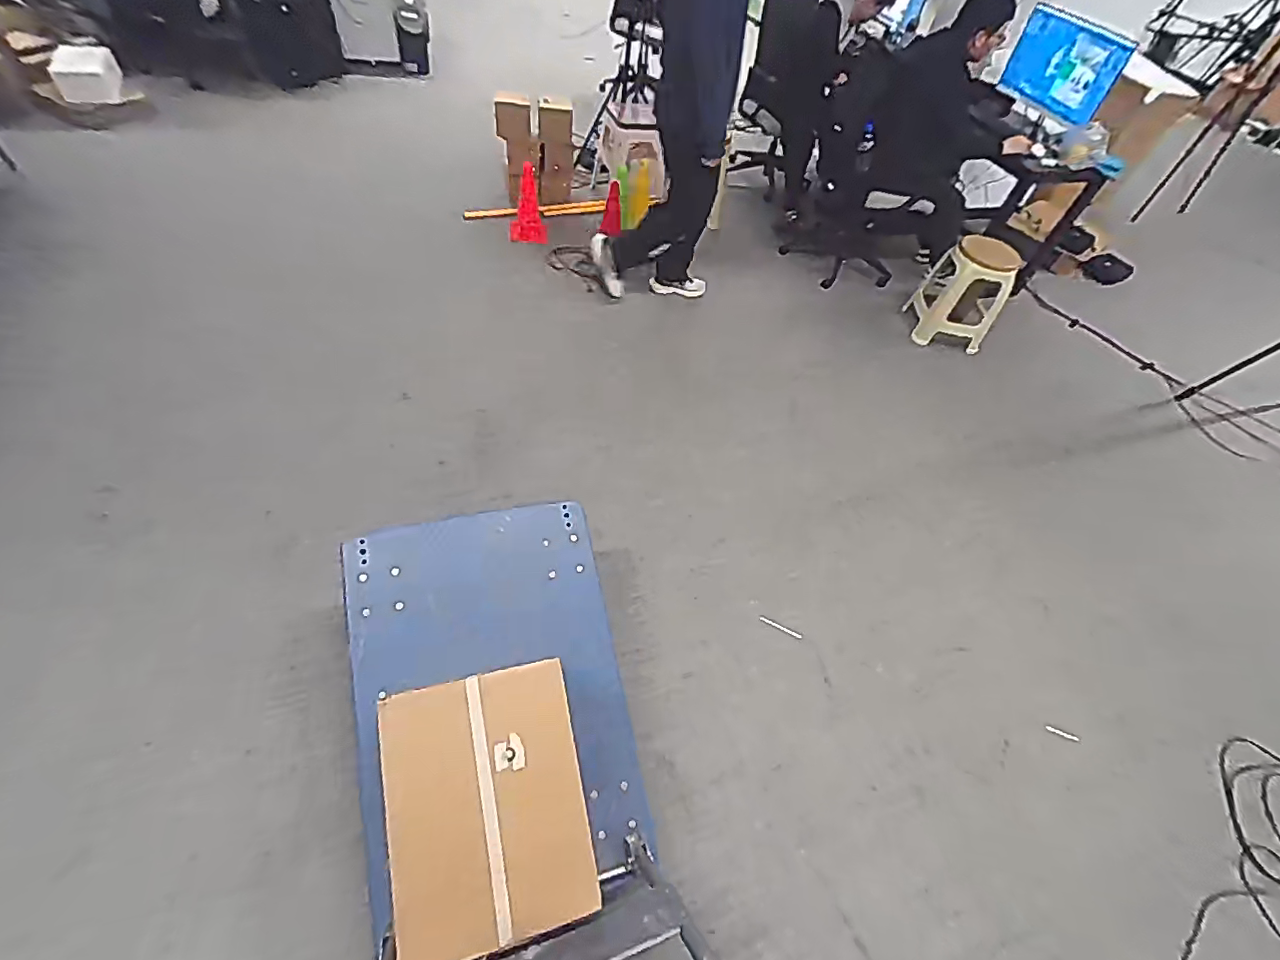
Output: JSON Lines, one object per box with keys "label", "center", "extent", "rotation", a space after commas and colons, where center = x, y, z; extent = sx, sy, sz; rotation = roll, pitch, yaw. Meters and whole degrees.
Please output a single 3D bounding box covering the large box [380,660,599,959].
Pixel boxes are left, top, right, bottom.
{"label": "large box", "center": [-0.285, 0.592, 1.045], "extent": [0.320, 0.320, 0.408], "rotation": [-8, 72, -16]}
